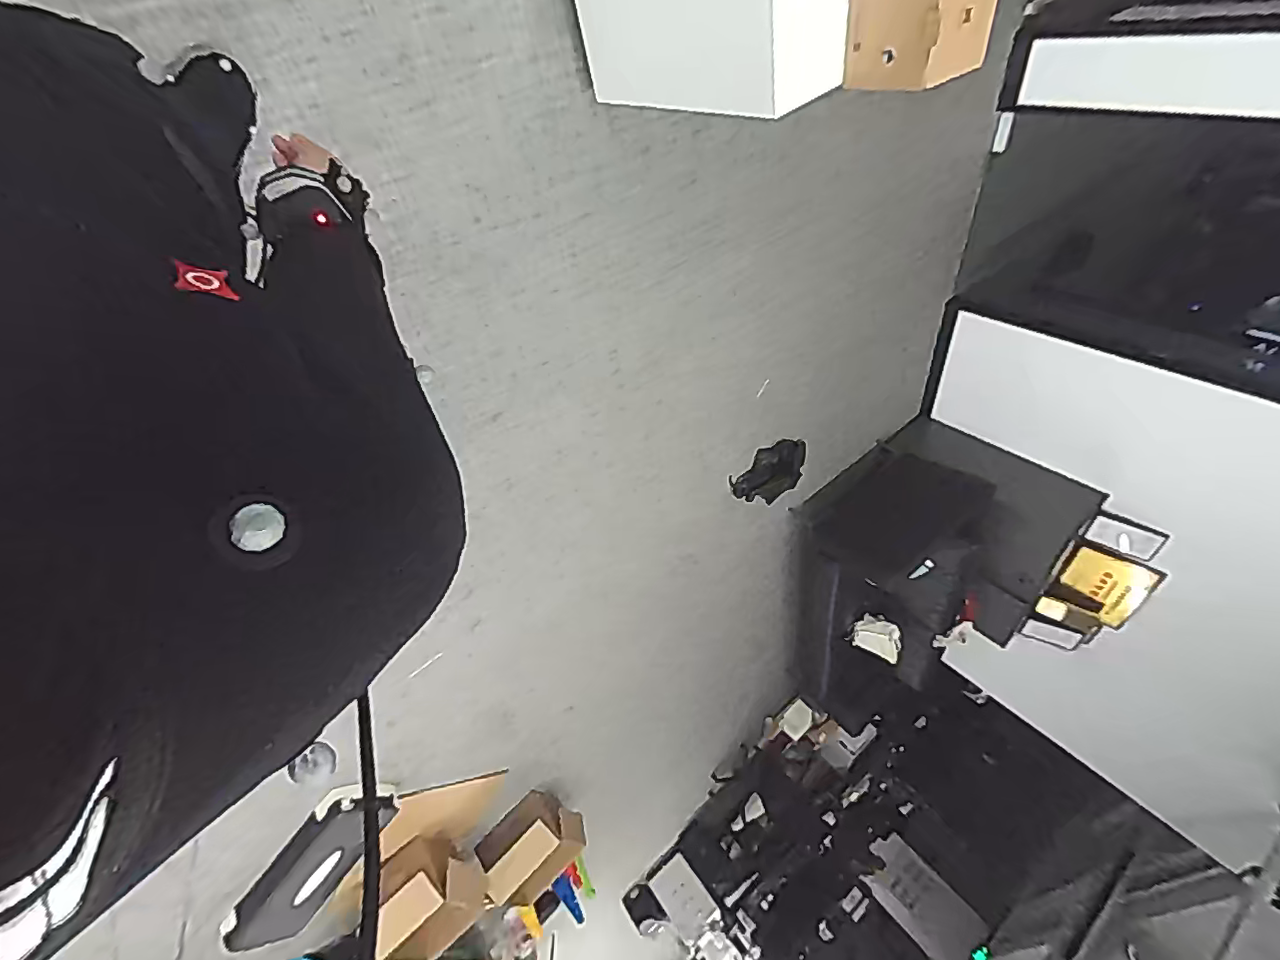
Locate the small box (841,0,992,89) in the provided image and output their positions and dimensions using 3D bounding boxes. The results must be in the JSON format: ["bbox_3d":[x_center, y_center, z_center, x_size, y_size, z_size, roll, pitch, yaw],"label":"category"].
[{"bbox_3d":[0.470,-0.788,0.925,0.179,0.176,0.168,-34,139,-21],"label":"small box"}]
